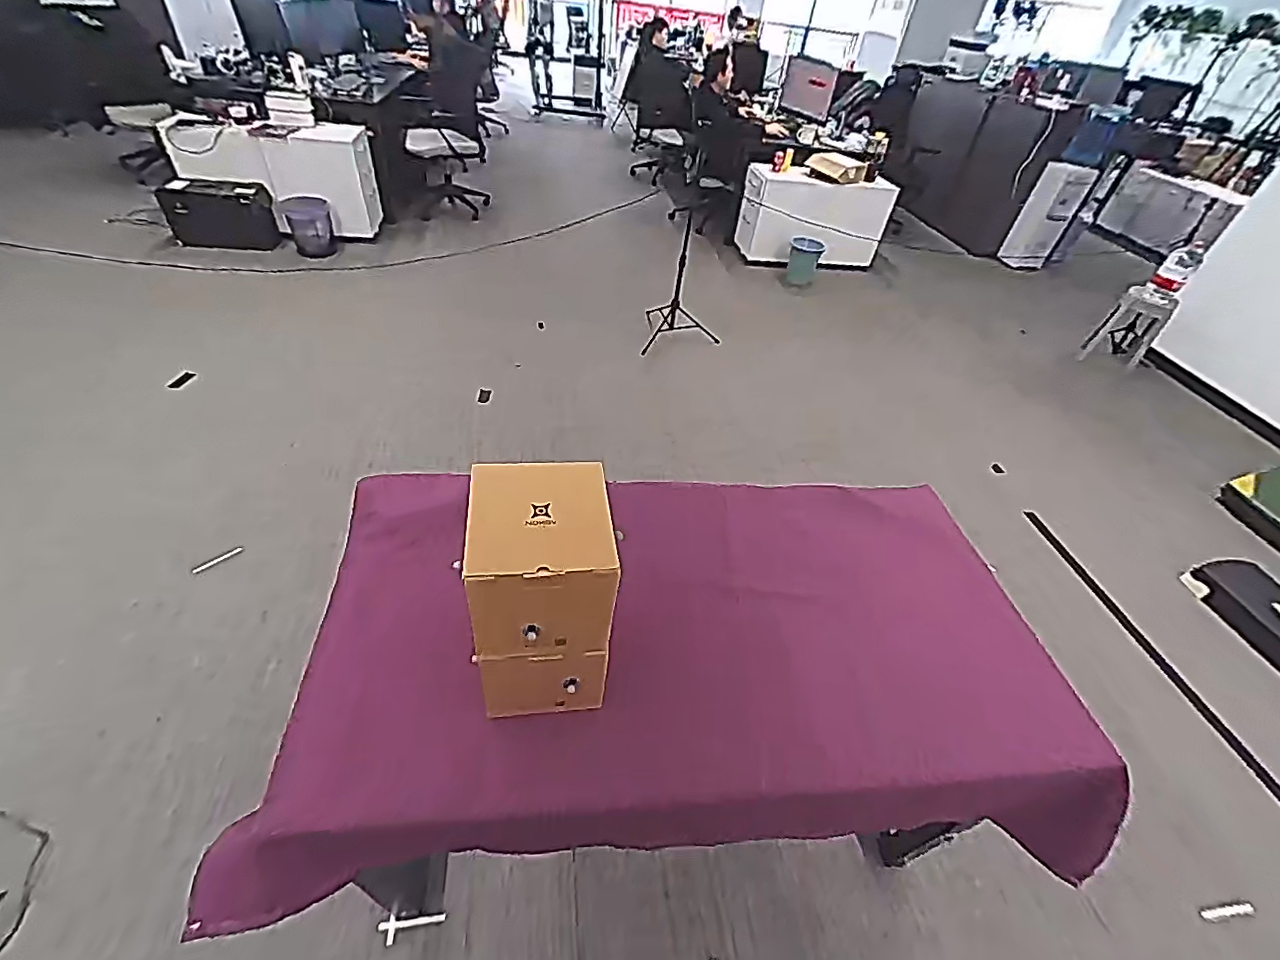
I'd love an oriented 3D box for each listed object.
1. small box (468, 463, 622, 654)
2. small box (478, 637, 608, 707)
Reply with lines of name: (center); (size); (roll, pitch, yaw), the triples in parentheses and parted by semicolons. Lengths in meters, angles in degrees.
small box: (-0.123, 0.096, 0.685); (0.168, 0.176, 0.179); (-1, 45, -12)
small box: (-0.138, 0.217, 0.792); (0.168, 0.176, 0.179); (0, 43, -10)
